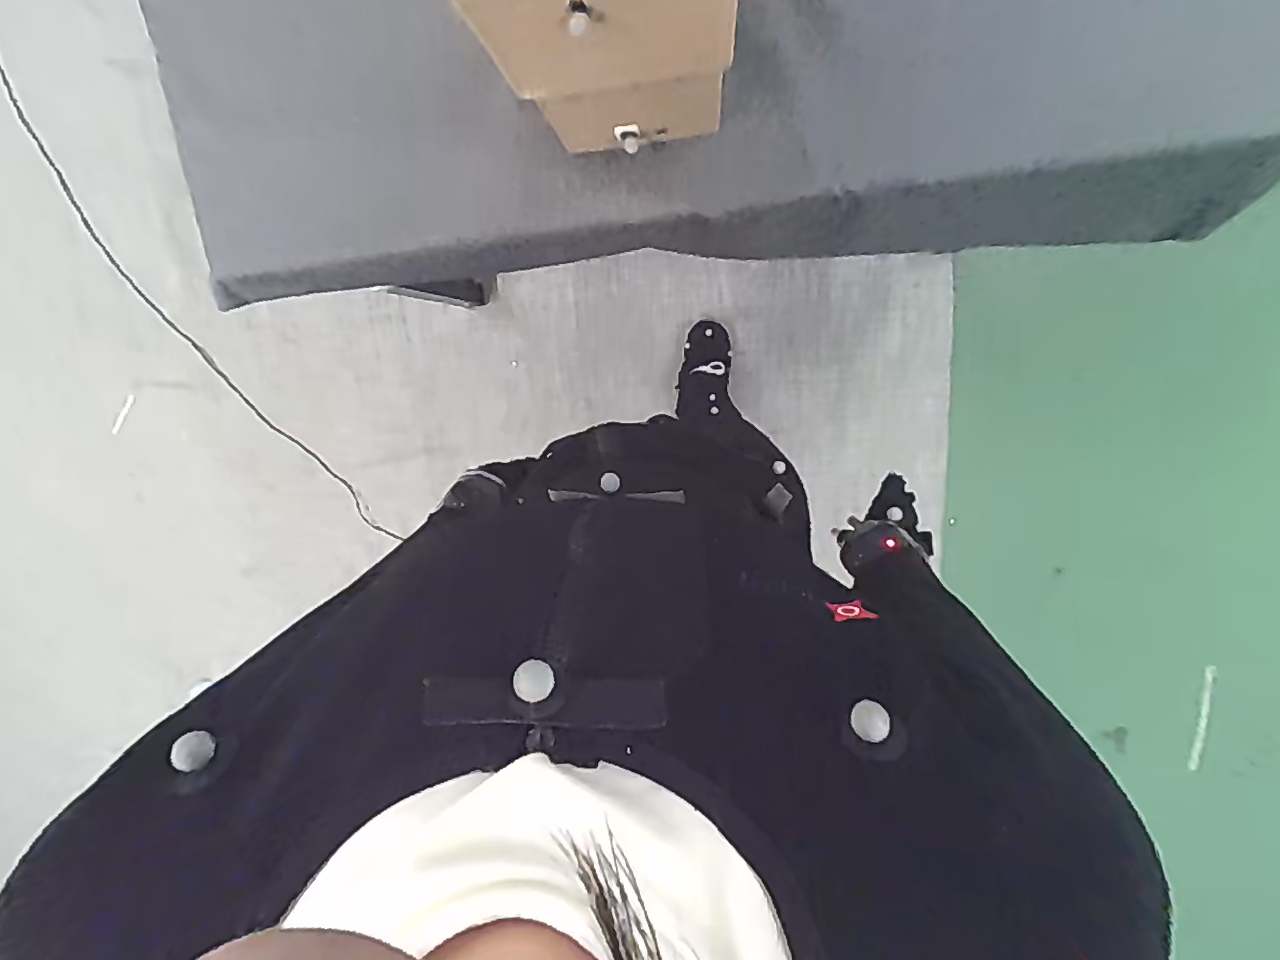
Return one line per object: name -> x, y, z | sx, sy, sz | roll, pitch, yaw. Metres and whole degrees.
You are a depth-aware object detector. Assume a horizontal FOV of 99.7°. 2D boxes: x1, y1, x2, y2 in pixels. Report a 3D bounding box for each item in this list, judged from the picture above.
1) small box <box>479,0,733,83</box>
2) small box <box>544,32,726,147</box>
small box -> -0.032, -0.394, 0.344 | 0.179, 0.176, 0.168 | -7, 100, 8
small box -> -0.013, -0.444, 0.497 | 0.168, 0.176, 0.179 | -6, 103, 9
